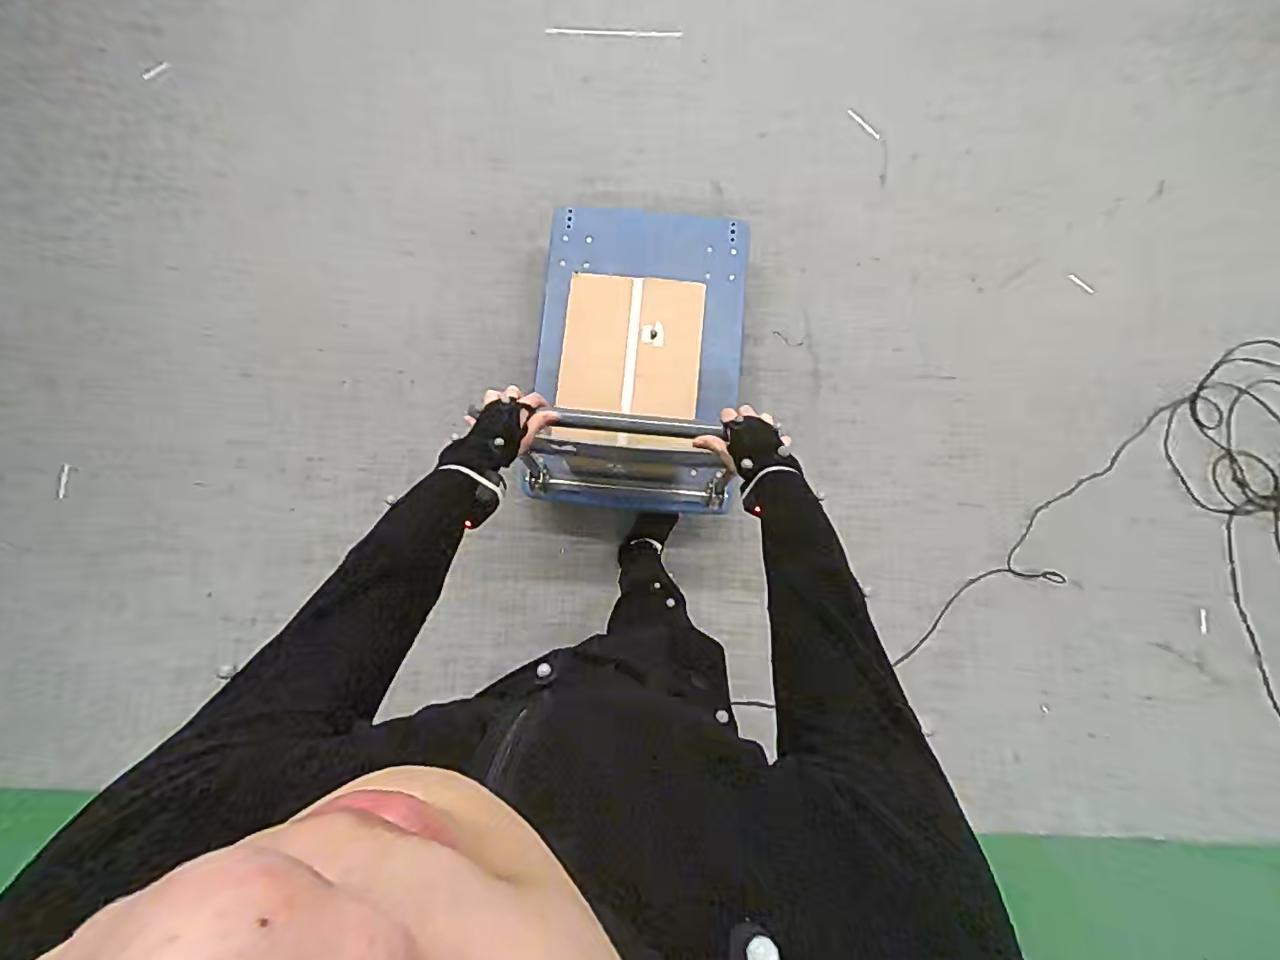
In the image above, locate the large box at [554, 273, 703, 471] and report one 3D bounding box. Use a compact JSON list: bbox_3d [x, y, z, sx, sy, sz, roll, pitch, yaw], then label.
[{"bbox_3d":[-0.020,-0.250,1.365,0.320,0.320,0.408,5,80,0],"label":"large box"}]
